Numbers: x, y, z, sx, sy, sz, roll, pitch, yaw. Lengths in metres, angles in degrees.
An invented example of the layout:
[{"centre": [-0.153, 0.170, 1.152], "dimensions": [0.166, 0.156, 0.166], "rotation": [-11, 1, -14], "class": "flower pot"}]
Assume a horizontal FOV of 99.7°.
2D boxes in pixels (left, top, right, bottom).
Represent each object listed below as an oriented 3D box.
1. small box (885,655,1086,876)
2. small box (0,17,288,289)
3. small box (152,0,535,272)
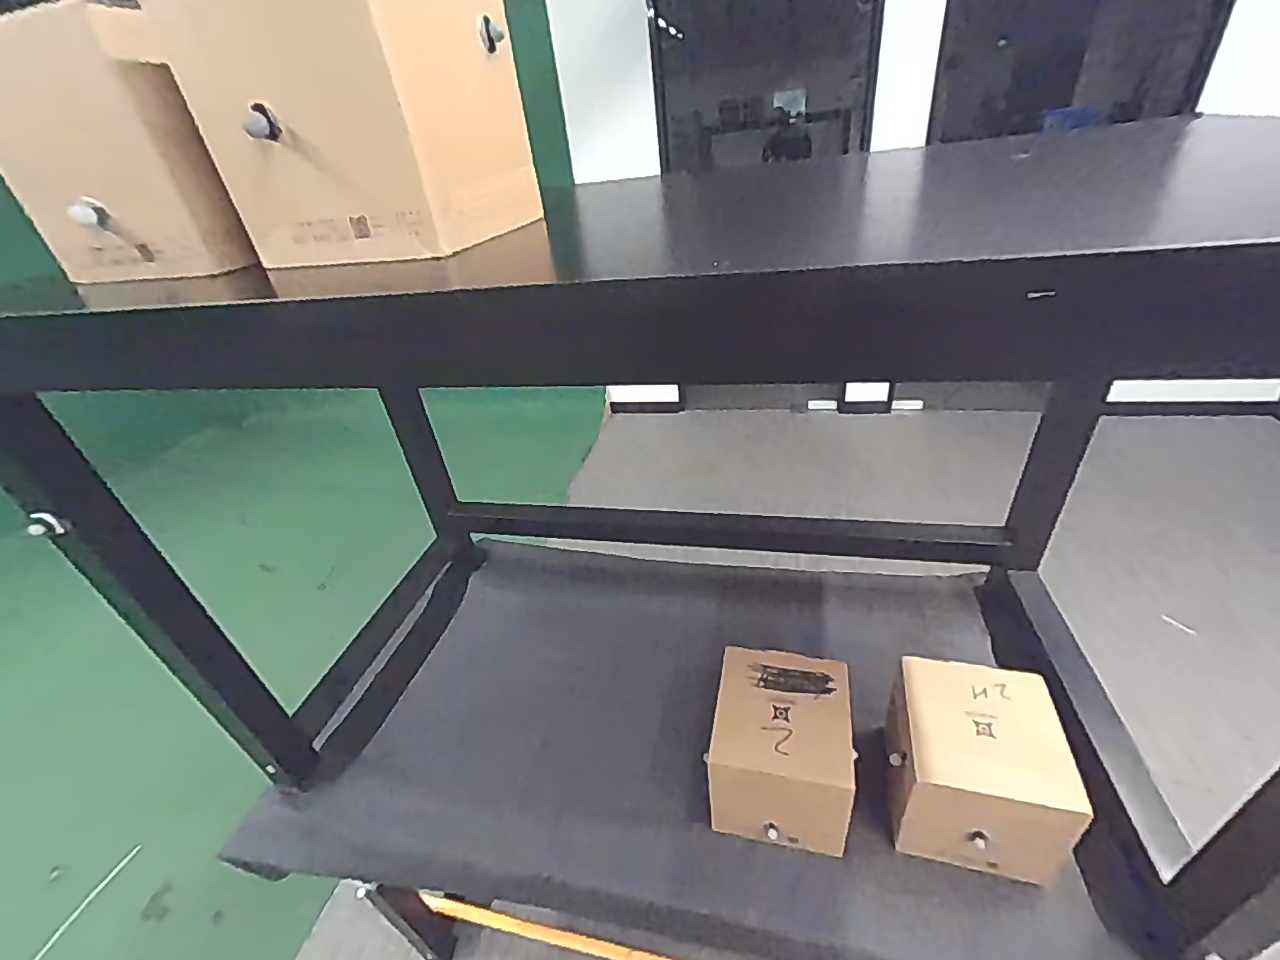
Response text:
[{"centre": [0.414, 0.355, 0.683], "dimensions": [0.168, 0.176, 0.179], "rotation": [4, 34, 17], "class": "small box"}, {"centre": [-0.391, -0.273, 0.471], "dimensions": [0.168, 0.176, 0.179], "rotation": [3, 35, 15], "class": "small box"}, {"centre": [-0.200, -0.267, 0.427], "dimensions": [0.168, 0.176, 0.179], "rotation": [3, 34, 16], "class": "small box"}]
